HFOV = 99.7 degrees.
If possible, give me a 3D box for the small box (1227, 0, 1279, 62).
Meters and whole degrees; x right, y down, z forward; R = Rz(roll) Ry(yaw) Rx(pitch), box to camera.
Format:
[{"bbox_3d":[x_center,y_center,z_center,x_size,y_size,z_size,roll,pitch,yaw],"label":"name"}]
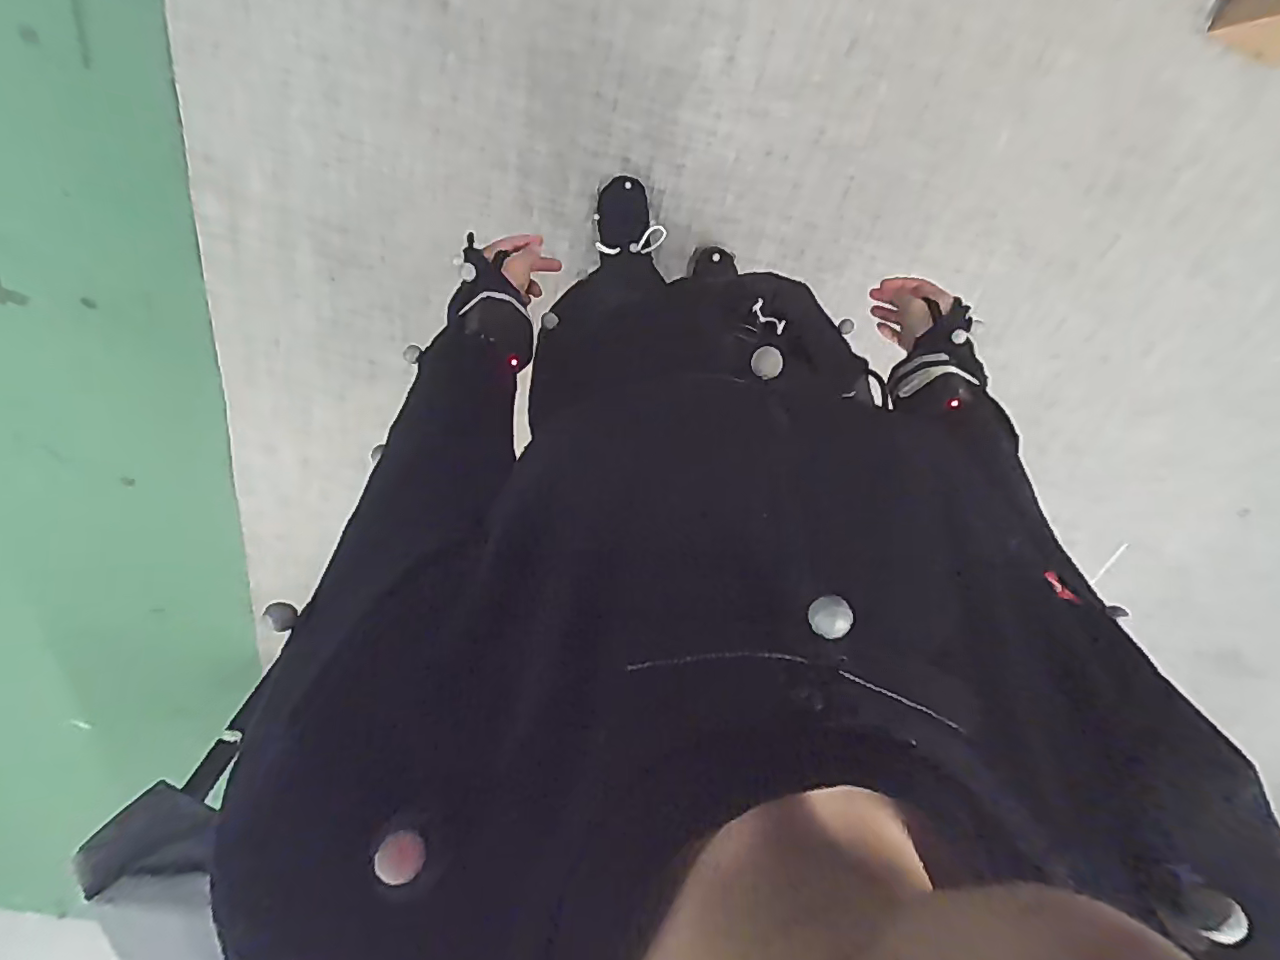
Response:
[{"bbox_3d":[1.154,-0.833,0.894,0.168,0.176,0.179,17,118,-11],"label":"small box"}]
